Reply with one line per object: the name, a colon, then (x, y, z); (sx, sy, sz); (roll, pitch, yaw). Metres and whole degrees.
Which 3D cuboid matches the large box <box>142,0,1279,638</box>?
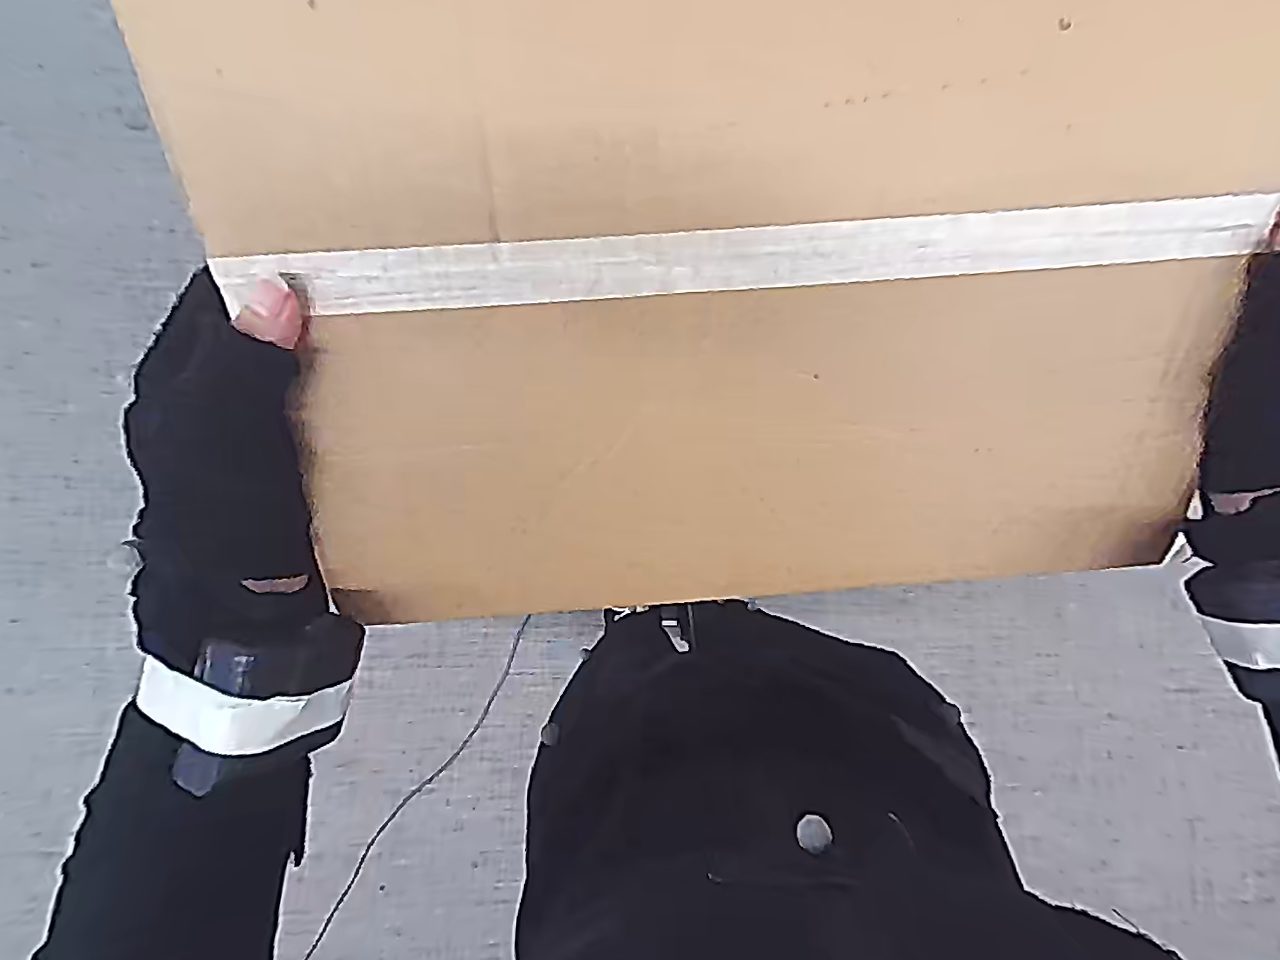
large box: (0.044, -0.138, 0.347); (0.408, 0.320, 0.320); (-4, 115, -2)
